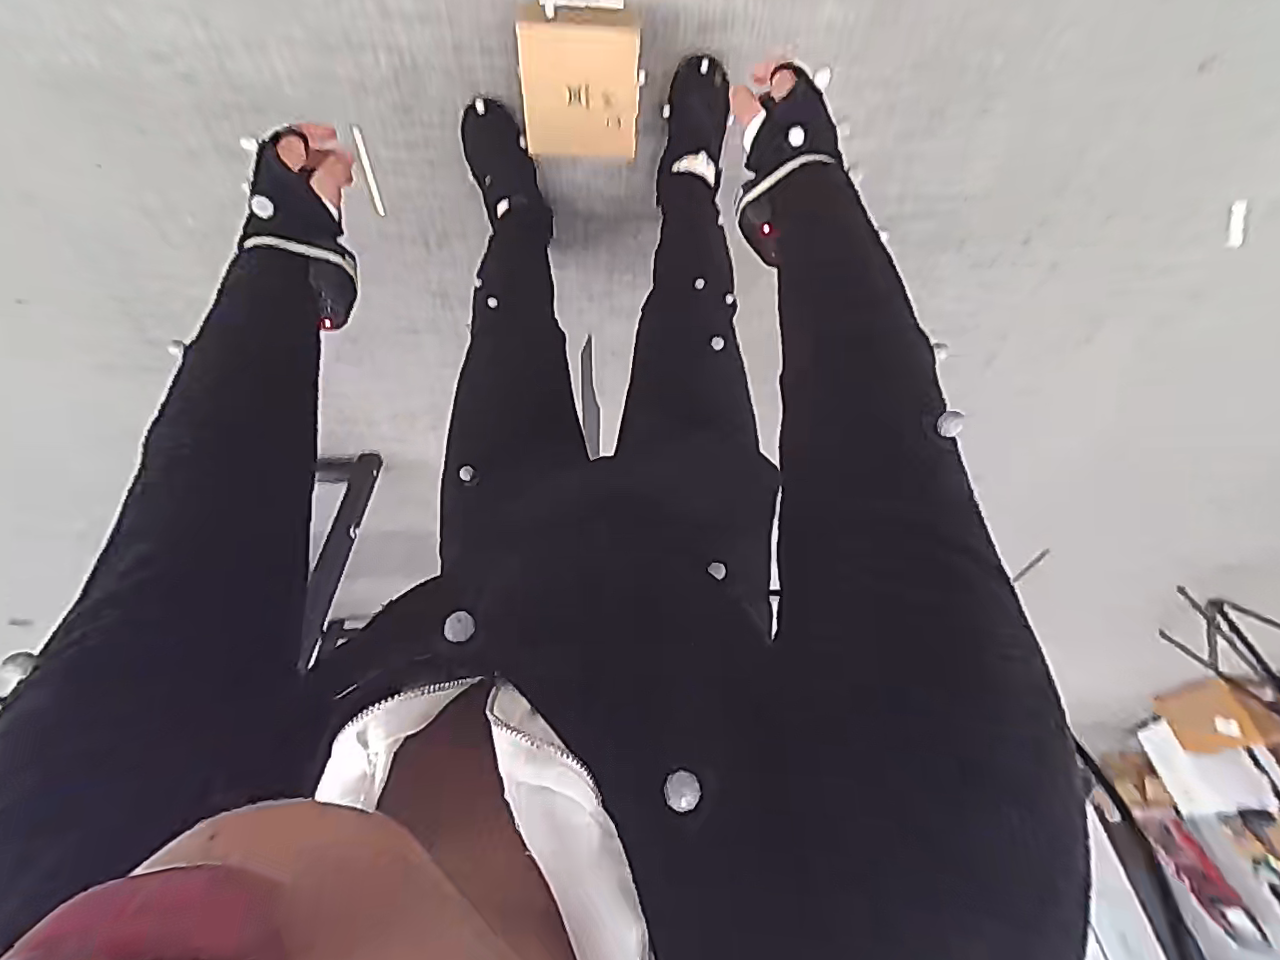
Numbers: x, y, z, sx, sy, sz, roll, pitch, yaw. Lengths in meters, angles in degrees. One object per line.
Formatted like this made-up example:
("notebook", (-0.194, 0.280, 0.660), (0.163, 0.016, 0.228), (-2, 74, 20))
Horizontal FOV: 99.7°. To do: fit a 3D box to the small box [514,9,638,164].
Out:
("small box", (-0.098, -0.634, 0.872), (0.179, 0.176, 0.168), (0, 141, -5))
